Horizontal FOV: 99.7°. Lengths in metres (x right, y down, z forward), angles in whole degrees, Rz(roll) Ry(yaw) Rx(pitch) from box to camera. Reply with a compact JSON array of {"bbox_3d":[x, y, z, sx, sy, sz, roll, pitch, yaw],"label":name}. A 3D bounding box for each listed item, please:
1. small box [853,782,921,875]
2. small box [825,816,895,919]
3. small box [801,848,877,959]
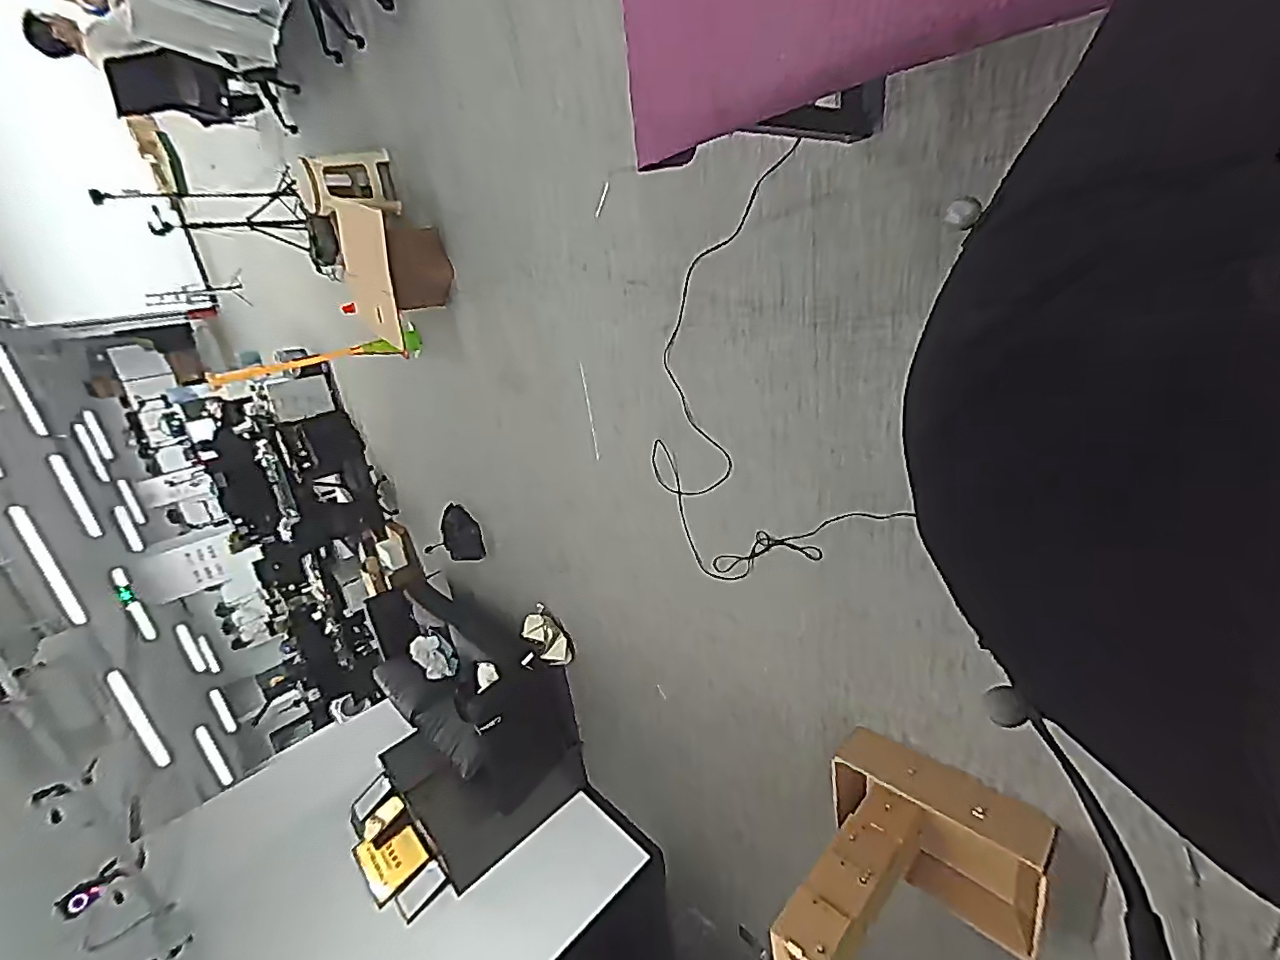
[{"bbox_3d":[0.859,1.199,1.876,0.168,0.176,0.179,5,114,46],"label":"small box"},{"bbox_3d":[0.722,1.259,1.772,0.168,0.176,0.179,11,118,45],"label":"small box"},{"bbox_3d":[0.618,1.301,1.677,0.168,0.176,0.179,13,119,45],"label":"small box"}]
